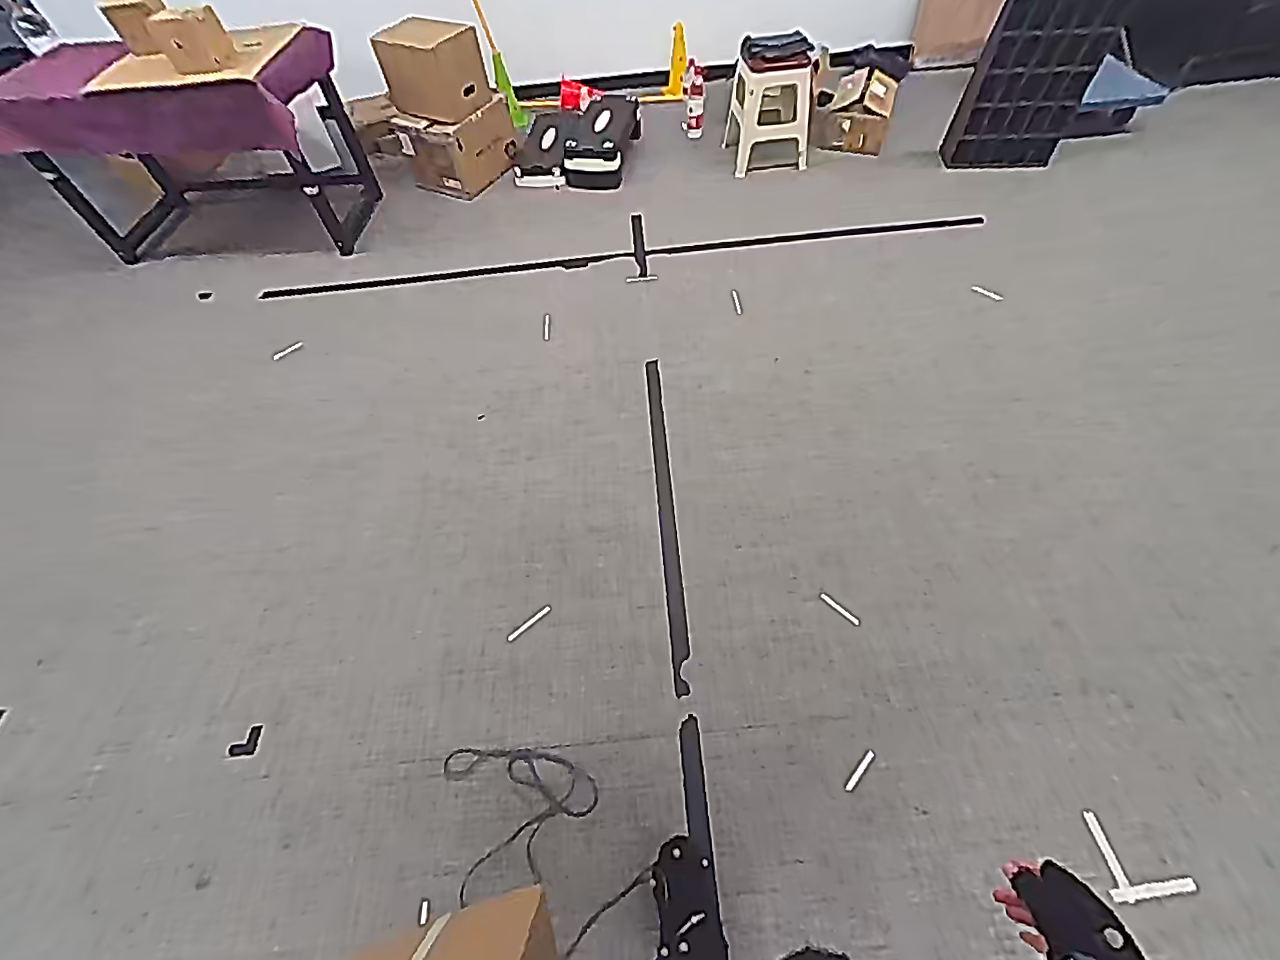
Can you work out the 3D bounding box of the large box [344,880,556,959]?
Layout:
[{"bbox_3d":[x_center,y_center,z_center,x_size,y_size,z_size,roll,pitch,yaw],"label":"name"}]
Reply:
[{"bbox_3d":[-0.258,0.788,0.657,0.320,0.408,0.320,-17,75,-7],"label":"large box"}]
